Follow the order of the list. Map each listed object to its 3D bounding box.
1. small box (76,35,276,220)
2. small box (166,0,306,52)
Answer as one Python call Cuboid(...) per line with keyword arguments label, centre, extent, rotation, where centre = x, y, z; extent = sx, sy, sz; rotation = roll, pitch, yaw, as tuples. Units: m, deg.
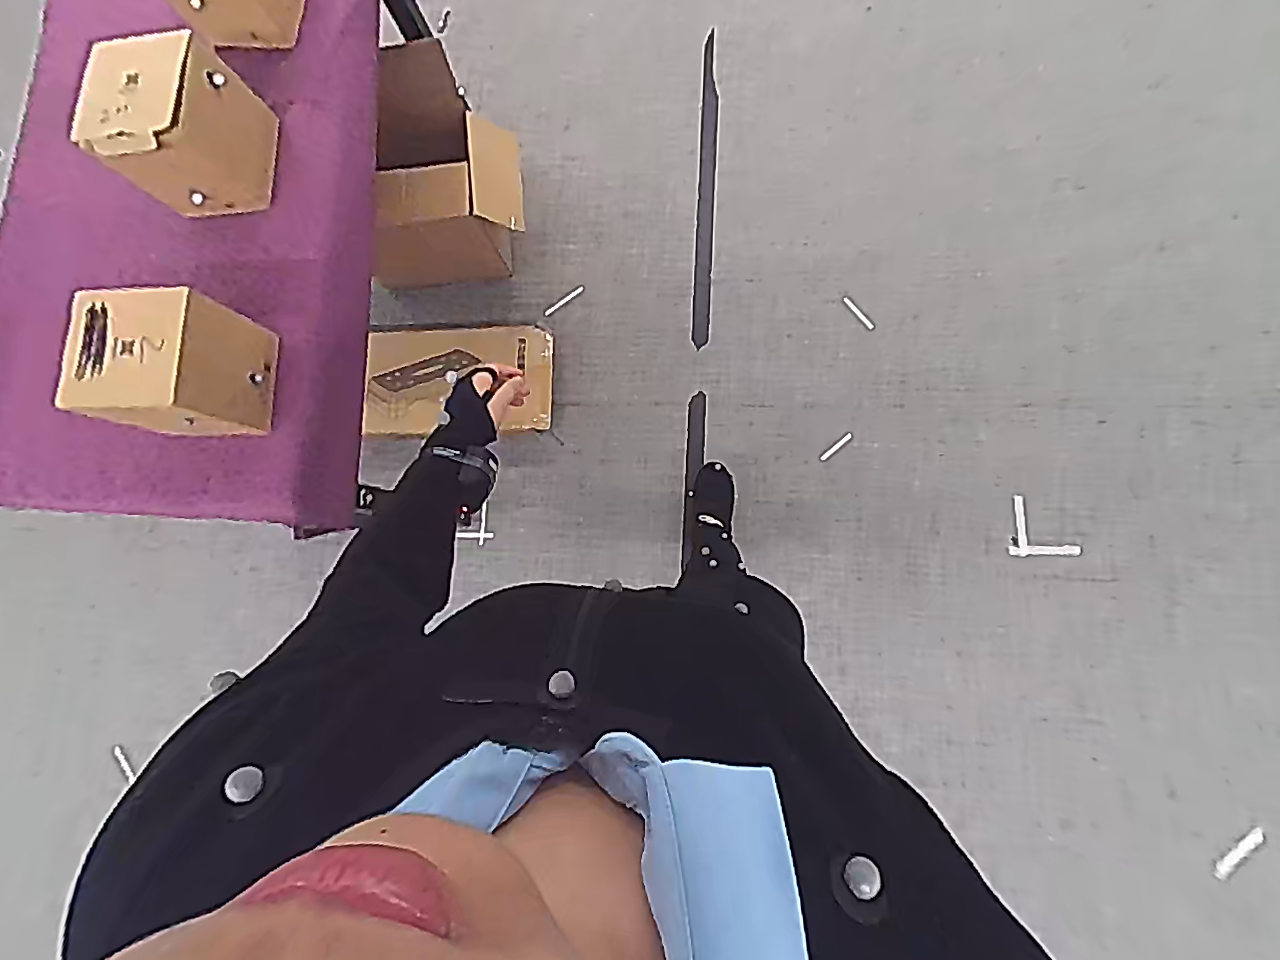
Cuboid(label="small box", centre=(-0.717, -0.547, 0.857), extent=(0.168, 0.176, 0.179), rotation=(-1, 81, 8))
Cuboid(label="small box", centre=(-0.693, -0.861, 0.903), extent=(0.168, 0.176, 0.179), rotation=(6, 82, 7))
